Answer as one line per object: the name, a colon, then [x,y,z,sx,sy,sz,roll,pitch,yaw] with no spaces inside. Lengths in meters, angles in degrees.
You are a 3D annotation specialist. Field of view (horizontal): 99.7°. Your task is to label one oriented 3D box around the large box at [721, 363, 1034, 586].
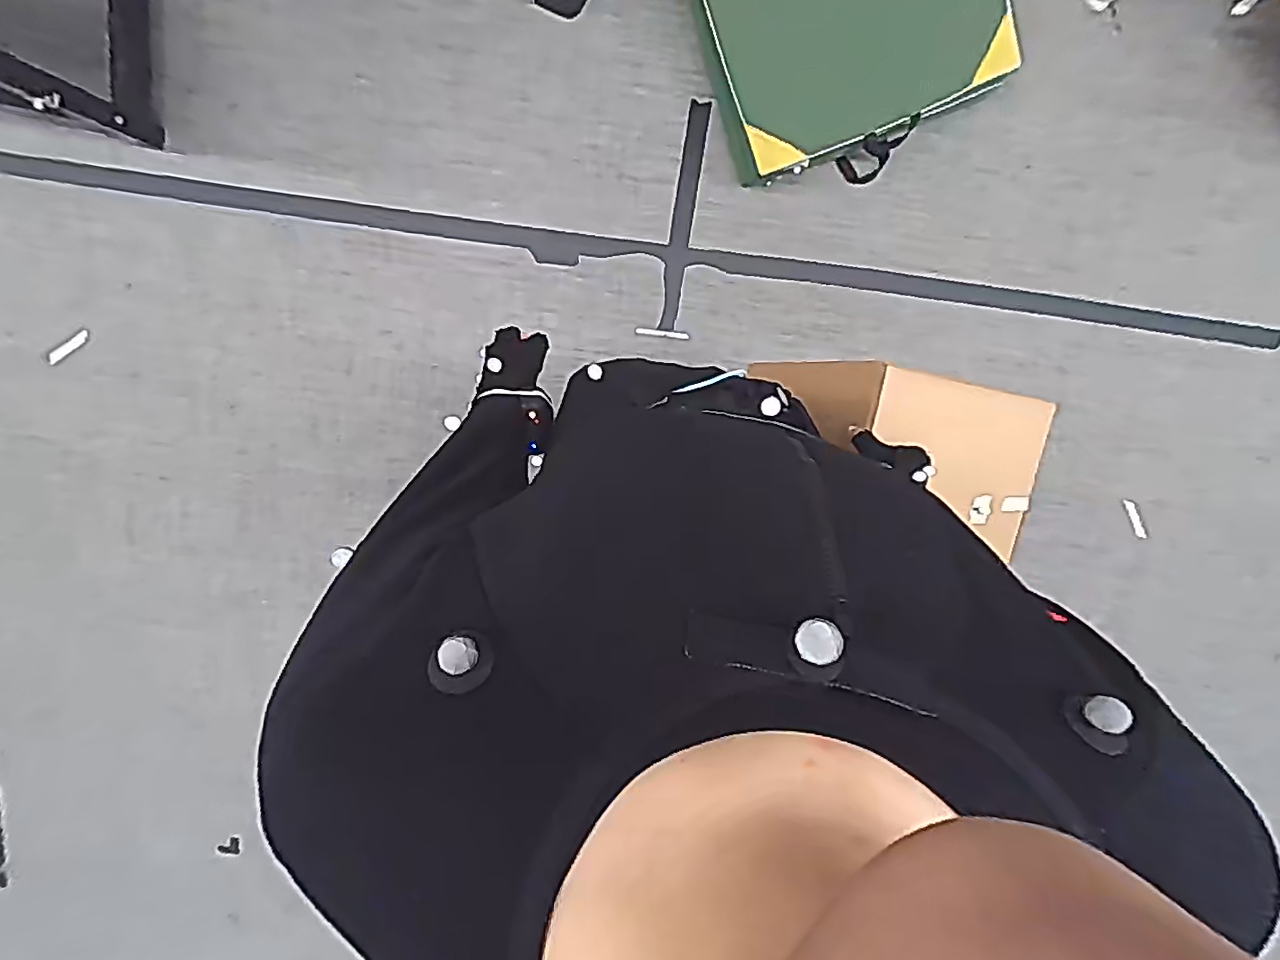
large box: [0.390,-0.028,0.987,0.320,0.408,0.320,9,99,-16]
